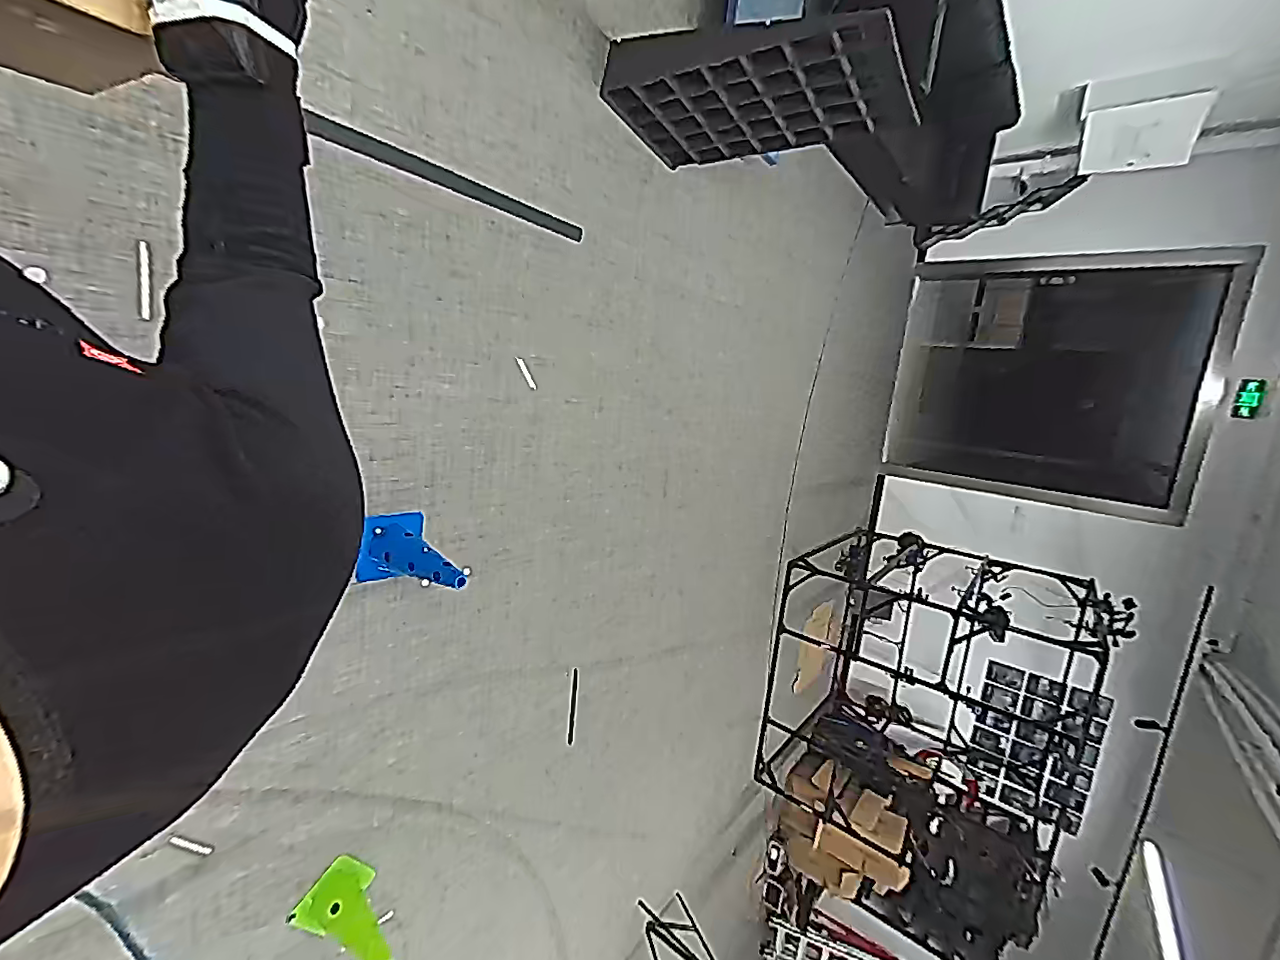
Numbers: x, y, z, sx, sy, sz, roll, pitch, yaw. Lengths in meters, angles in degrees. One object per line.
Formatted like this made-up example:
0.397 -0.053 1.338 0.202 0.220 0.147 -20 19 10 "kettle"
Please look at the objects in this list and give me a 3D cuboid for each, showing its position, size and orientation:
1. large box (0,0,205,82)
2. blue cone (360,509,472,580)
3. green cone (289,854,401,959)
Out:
-0.514 -0.464 0.256 0.408 0.320 0.320 -12 118 -54 "large box"
-0.616 0.217 1.539 0.192 0.380 0.193 -2 103 -54 "blue cone"
-0.821 1.329 1.597 0.202 0.368 0.200 -51 138 -33 "green cone"
